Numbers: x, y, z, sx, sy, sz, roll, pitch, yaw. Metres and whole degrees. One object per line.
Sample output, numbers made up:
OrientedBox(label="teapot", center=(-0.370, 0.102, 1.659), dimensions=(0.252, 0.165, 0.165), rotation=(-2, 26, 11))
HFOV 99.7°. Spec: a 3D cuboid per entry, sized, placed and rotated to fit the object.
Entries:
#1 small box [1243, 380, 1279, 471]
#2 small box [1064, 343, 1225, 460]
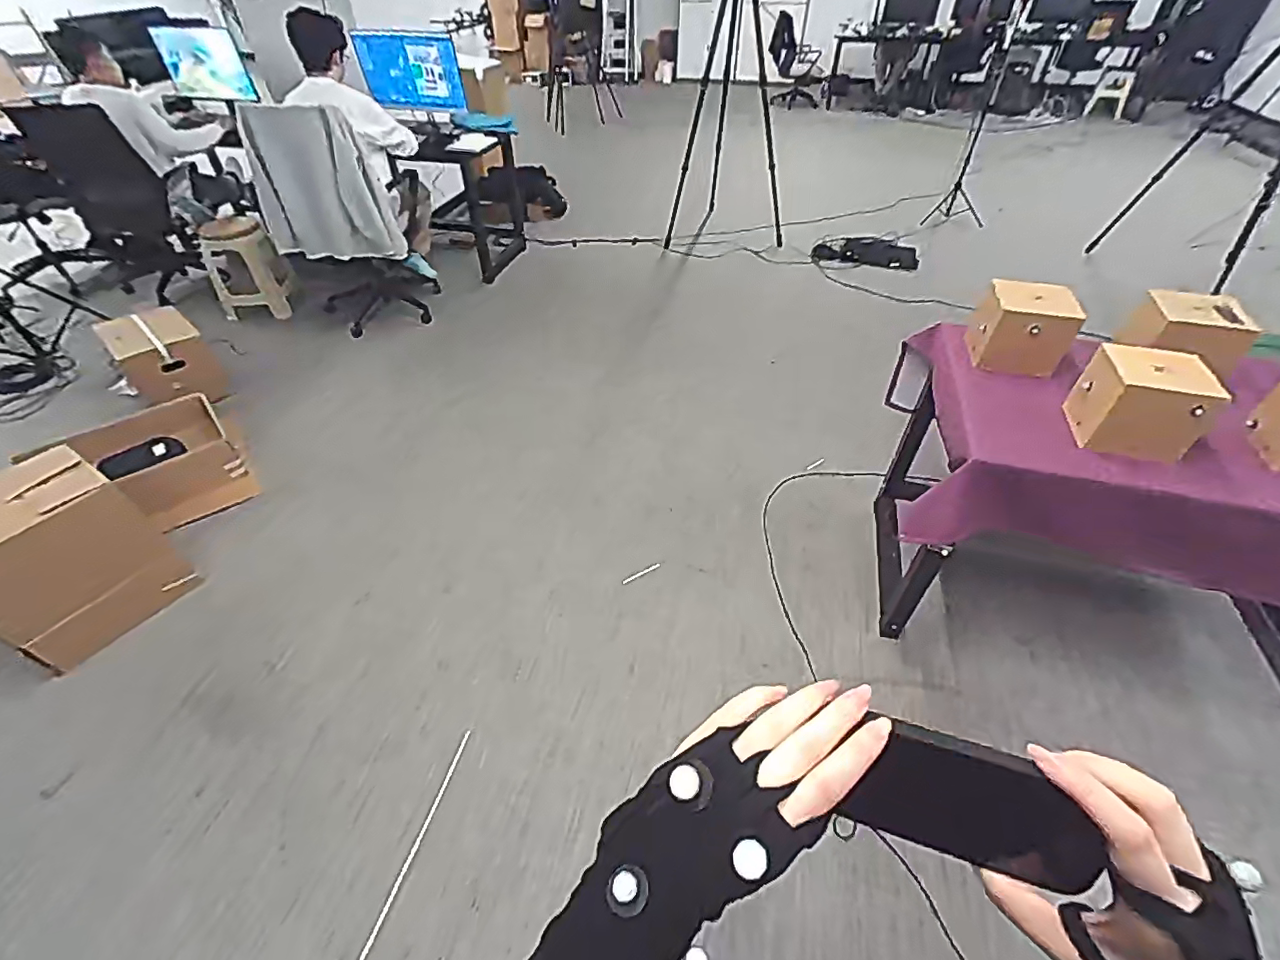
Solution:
OrientedBox(label="small box", center=(1.376, -0.107, 1.073), dimensions=(0.179, 0.176, 0.168), rotation=(14, 47, 13))
OrientedBox(label="small box", center=(1.033, -0.163, 1.133), dimensions=(0.179, 0.176, 0.168), rotation=(13, 46, 12))
